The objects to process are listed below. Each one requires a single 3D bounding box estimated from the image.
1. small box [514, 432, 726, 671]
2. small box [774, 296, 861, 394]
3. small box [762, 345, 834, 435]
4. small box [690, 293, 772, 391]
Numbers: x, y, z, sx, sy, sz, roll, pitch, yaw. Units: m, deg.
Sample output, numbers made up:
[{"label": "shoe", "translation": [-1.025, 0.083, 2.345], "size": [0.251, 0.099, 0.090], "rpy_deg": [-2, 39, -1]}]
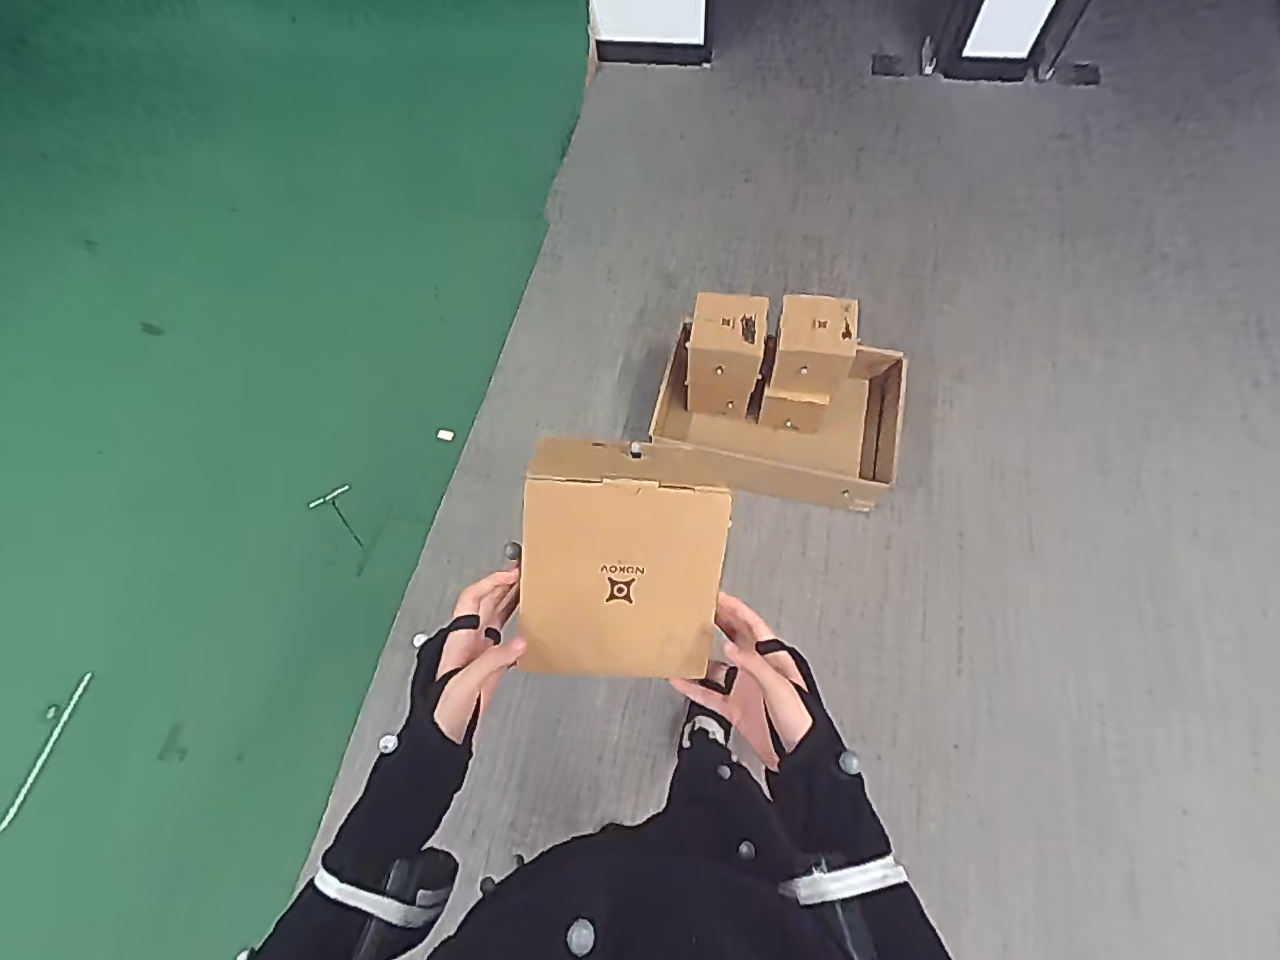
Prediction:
[{"label": "small box", "translation": [-0.025, 0.058, 0.523], "size": [0.168, 0.176, 0.179], "rpy_deg": [4, 104, -6]}, {"label": "small box", "translation": [0.427, -0.325, 1.322], "size": [0.179, 0.176, 0.168], "rpy_deg": [7, 68, 10]}, {"label": "small box", "translation": [0.432, -0.247, 1.468], "size": [0.168, 0.176, 0.179], "rpy_deg": [11, 70, 12]}, {"label": "small box", "translation": [0.222, -0.338, 1.347], "size": [0.179, 0.176, 0.168], "rpy_deg": [8, 70, 9]}]
